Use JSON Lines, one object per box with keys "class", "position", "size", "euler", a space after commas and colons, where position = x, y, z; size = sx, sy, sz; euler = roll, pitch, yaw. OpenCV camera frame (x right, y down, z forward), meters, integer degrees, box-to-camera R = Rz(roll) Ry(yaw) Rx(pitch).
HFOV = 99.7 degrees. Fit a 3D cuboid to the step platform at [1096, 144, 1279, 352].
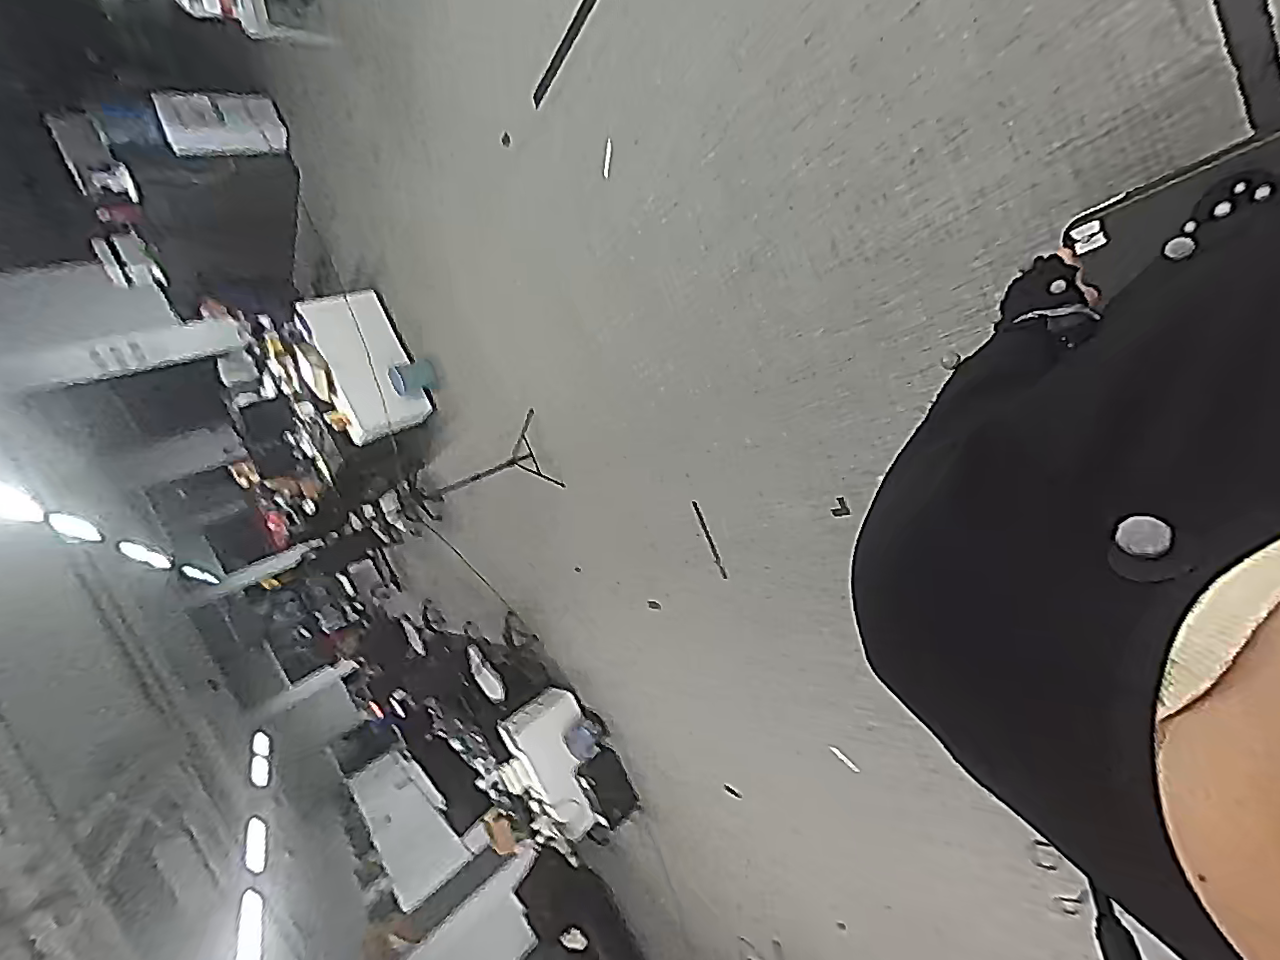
{"class": "step platform", "position": [1.151, -0.432, 0.834], "size": [0.684, 0.204, 0.286], "euler": [-11, 103, 52]}
